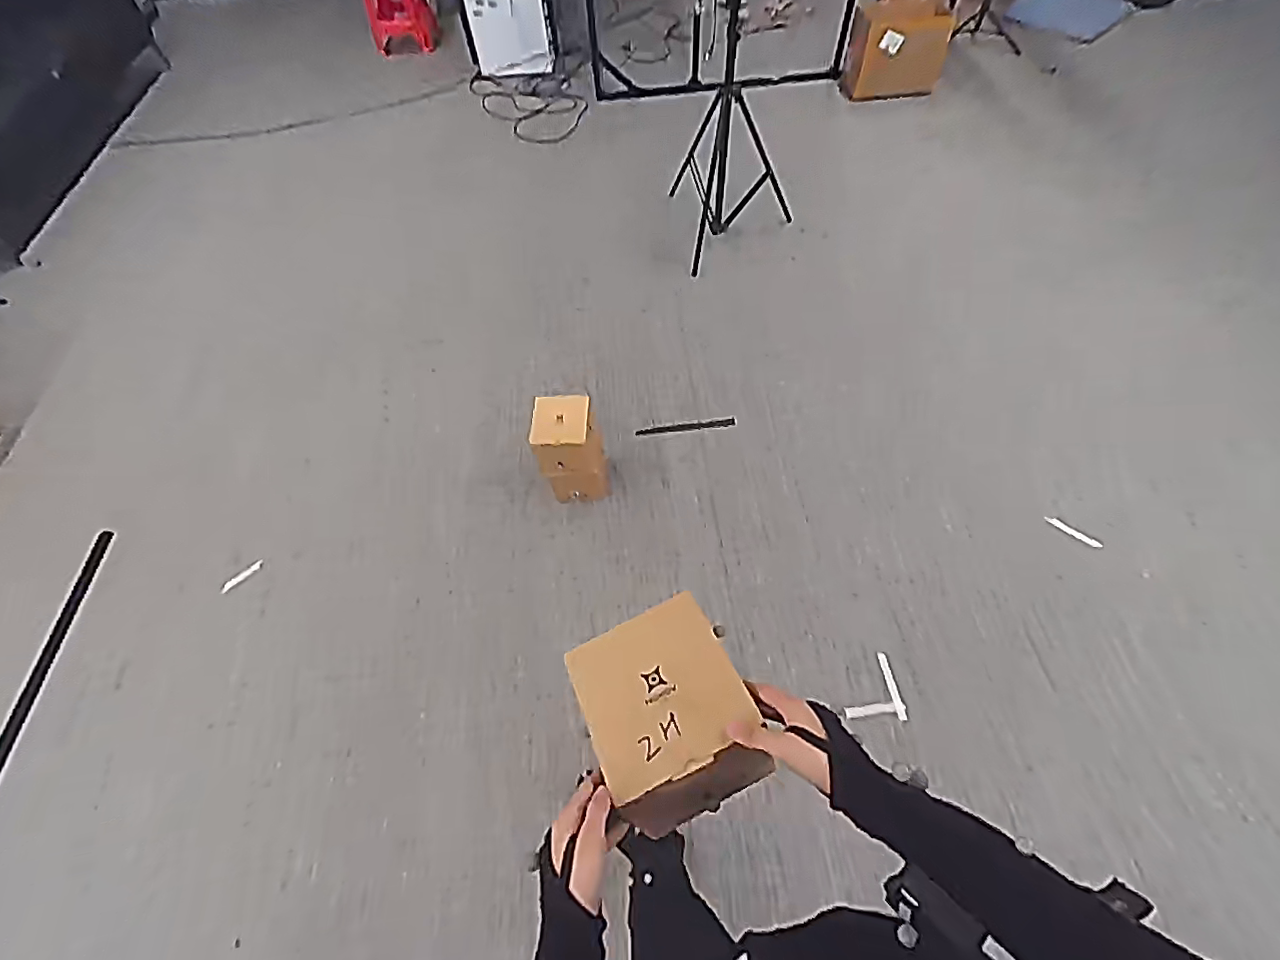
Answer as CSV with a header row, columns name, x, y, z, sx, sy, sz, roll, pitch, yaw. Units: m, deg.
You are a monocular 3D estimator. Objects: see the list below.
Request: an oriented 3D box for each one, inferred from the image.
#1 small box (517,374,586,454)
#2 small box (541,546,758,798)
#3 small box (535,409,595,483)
name,x,y,z,sx,sy,sz,roll,pitch,yaw
small box,-0.257,-0.194,1.606,0.168,0.176,0.179,-2,60,3
small box,0.014,0.211,0.594,0.168,0.176,0.179,-26,48,-5
small box,-0.238,-0.108,1.743,0.168,0.176,0.179,-4,59,2
